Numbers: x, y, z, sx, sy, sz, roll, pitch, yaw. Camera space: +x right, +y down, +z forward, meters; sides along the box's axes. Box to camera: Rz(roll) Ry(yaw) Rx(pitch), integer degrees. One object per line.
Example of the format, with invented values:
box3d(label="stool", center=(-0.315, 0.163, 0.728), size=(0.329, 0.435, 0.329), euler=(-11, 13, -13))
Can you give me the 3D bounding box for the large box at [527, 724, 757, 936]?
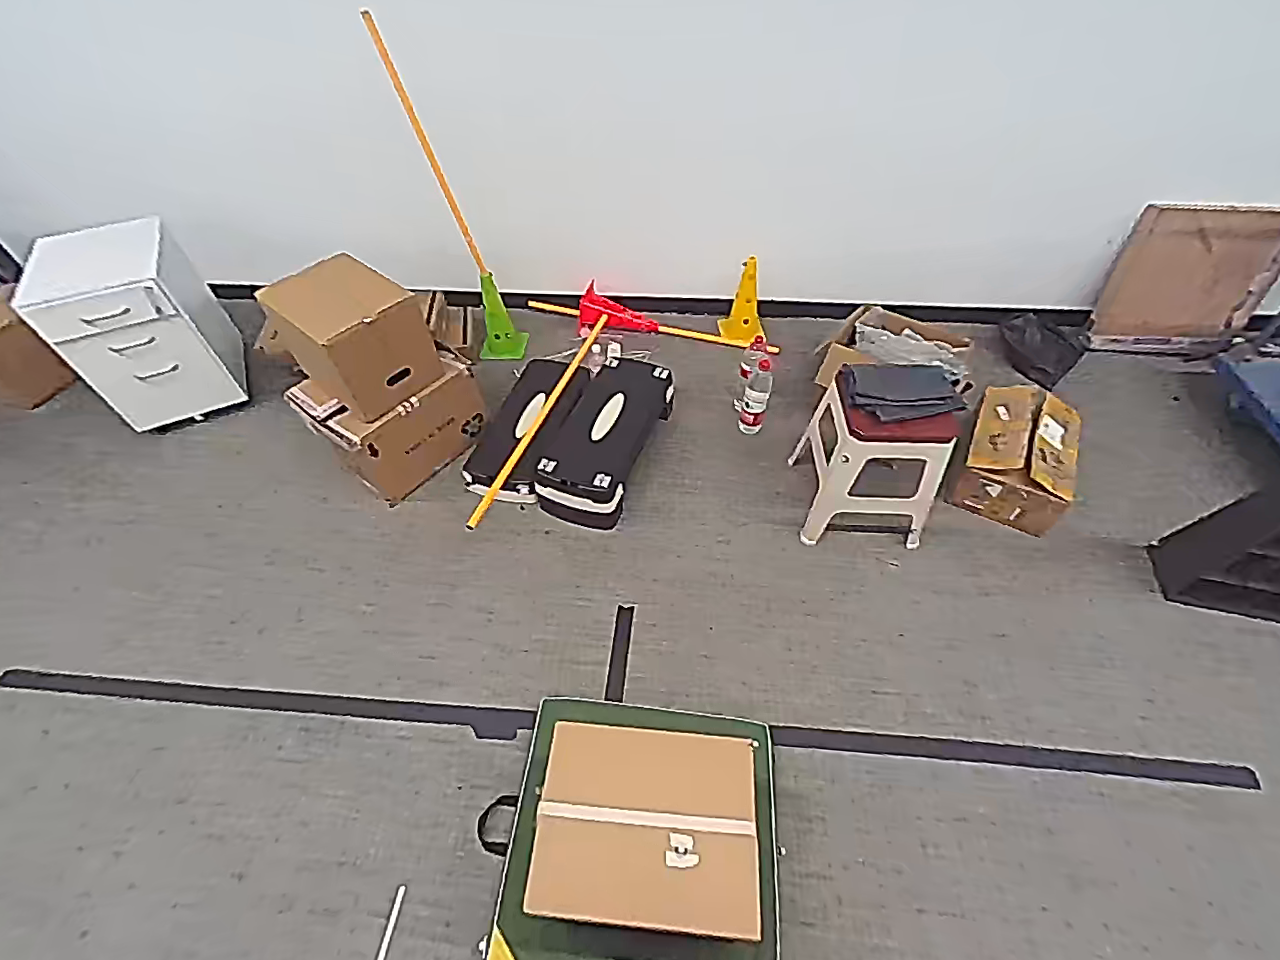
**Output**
box3d(label="large box", center=(0.009, 0.732, 1.128), size=(0.408, 0.320, 0.320), euler=(4, 50, 3))
